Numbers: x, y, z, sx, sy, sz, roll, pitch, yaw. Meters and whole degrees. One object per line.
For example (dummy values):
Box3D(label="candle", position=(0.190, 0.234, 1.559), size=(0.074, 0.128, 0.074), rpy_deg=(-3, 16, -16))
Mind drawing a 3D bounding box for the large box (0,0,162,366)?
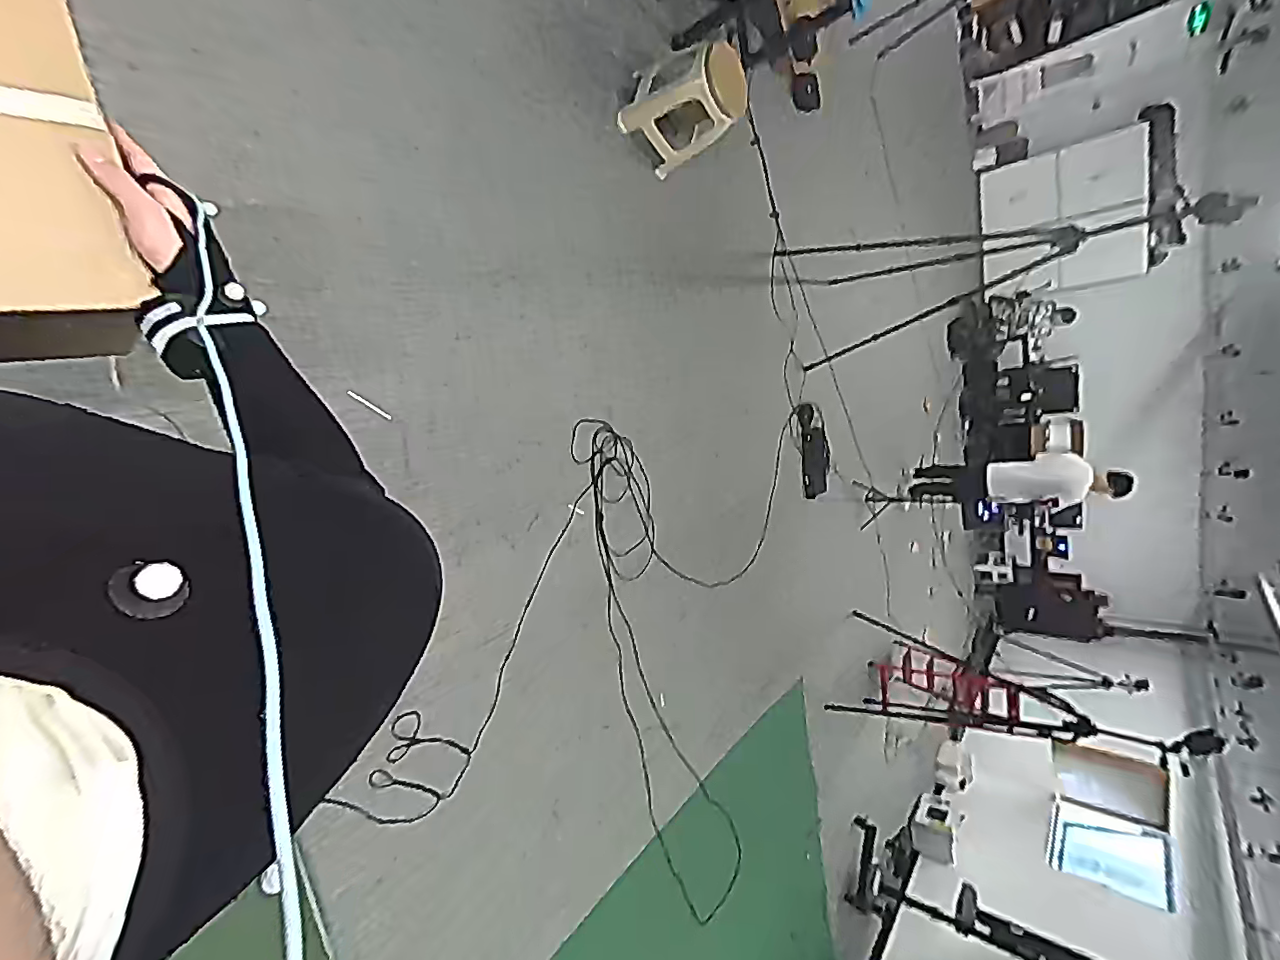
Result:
Box3D(label="large box", position=(-0.711, -0.256, 0.434), size=(0.408, 0.320, 0.320), rpy_deg=(-22, 107, -46))
